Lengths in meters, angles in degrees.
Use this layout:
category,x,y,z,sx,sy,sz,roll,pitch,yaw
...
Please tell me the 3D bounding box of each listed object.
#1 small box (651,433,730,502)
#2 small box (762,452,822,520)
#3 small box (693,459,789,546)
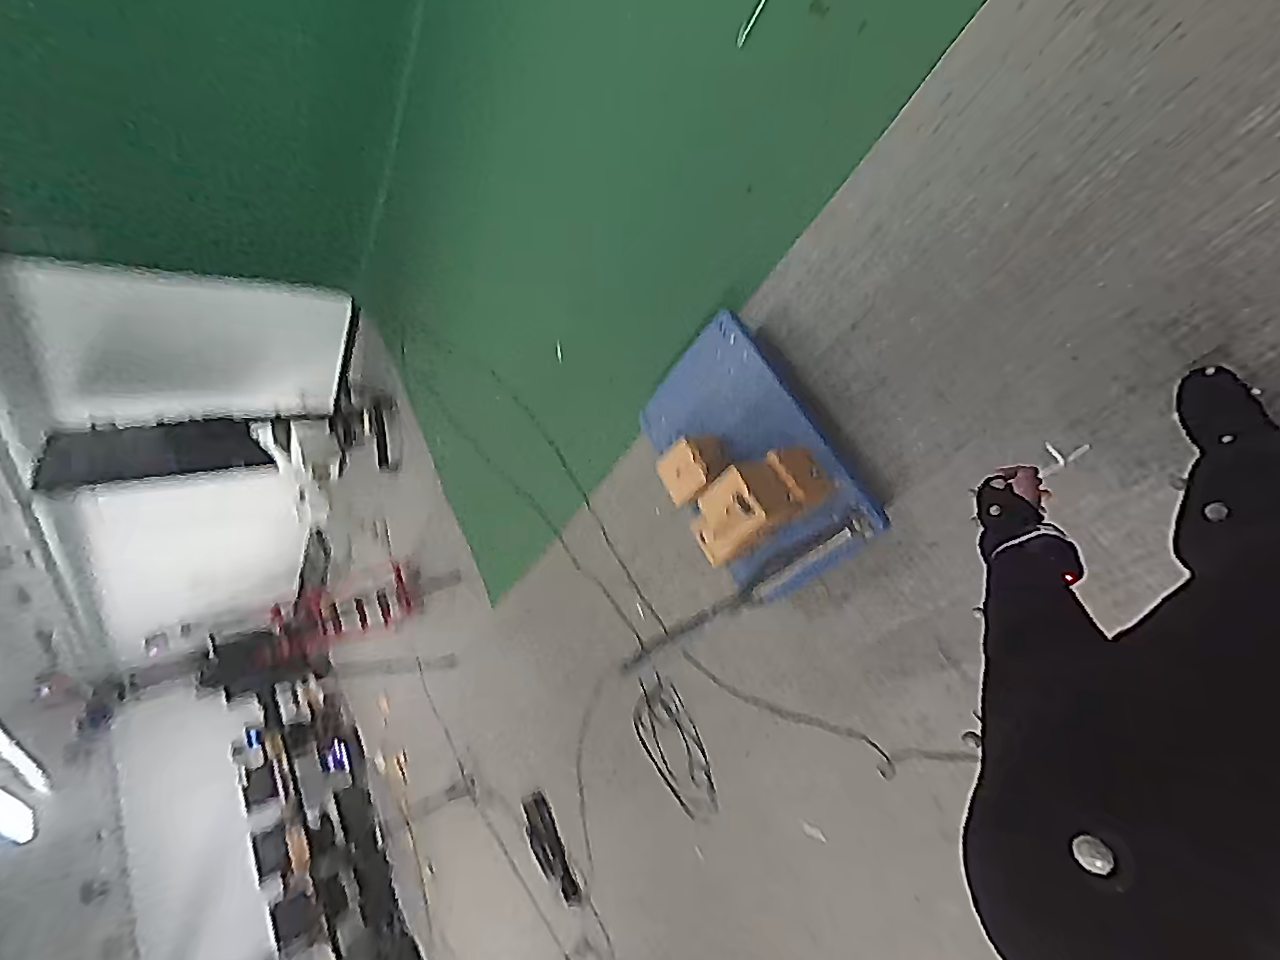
category,x,y,z,sx,sy,sz,roll,pitch,yaw
small box,0.176,-0.045,1.838,0.179,0.176,0.168,-44,67,41
small box,0.422,0.019,1.607,0.168,0.176,0.179,-7,93,45
small box,0.288,0.056,1.504,0.179,0.176,0.168,-49,63,41
